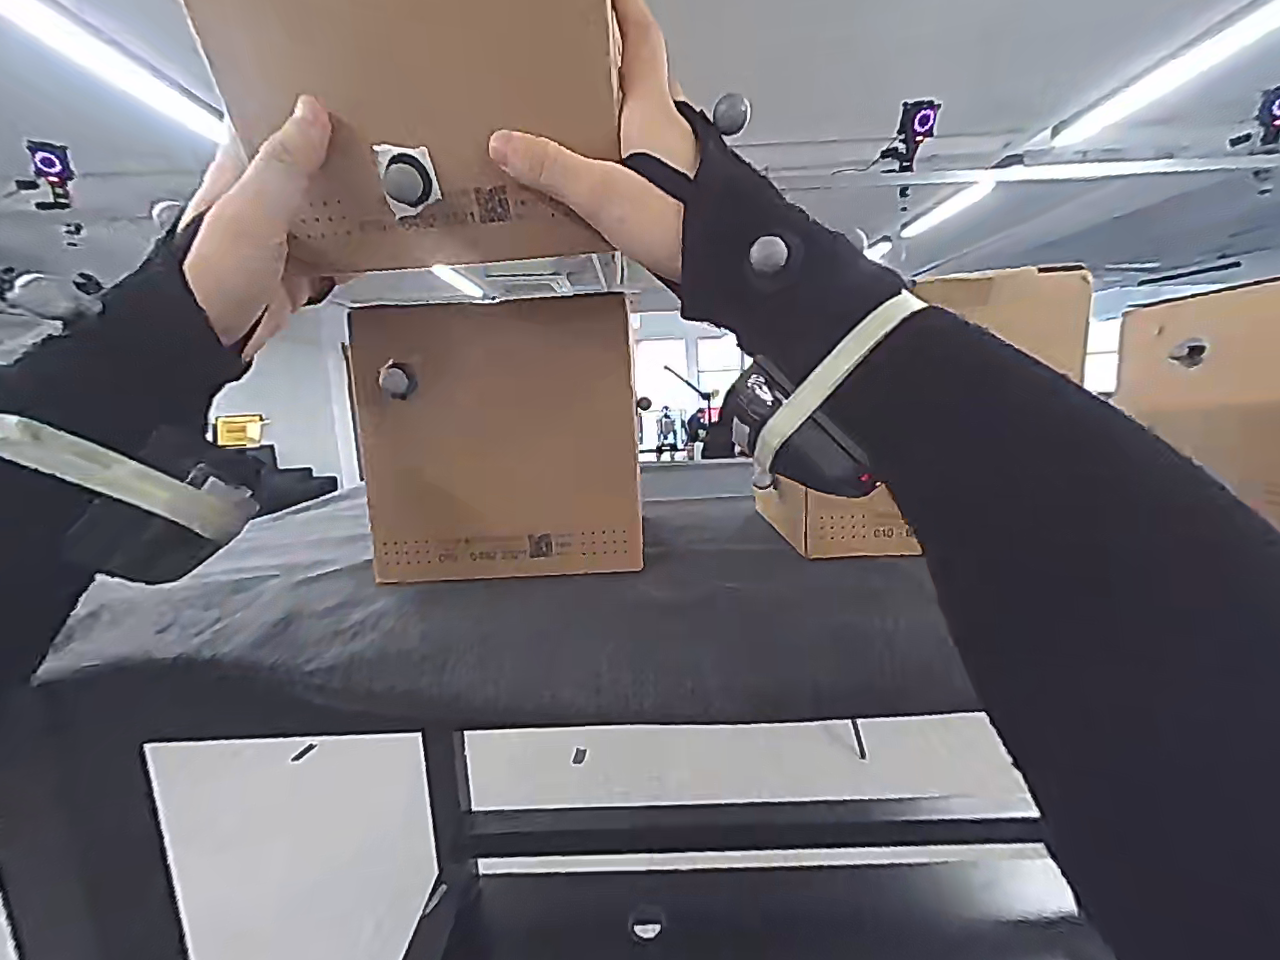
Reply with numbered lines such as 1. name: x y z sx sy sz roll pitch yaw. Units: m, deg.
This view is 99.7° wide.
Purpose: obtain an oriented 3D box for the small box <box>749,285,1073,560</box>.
1. small box: 0.182 -0.039 0.412 0.168 0.176 0.179 -2 7 1

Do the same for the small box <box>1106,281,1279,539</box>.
1. small box: 0.494 -0.052 0.402 0.168 0.176 0.179 -2 9 7

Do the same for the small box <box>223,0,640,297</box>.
1. small box: -0.090 -0.207 0.299 0.168 0.176 0.179 -5 31 2
